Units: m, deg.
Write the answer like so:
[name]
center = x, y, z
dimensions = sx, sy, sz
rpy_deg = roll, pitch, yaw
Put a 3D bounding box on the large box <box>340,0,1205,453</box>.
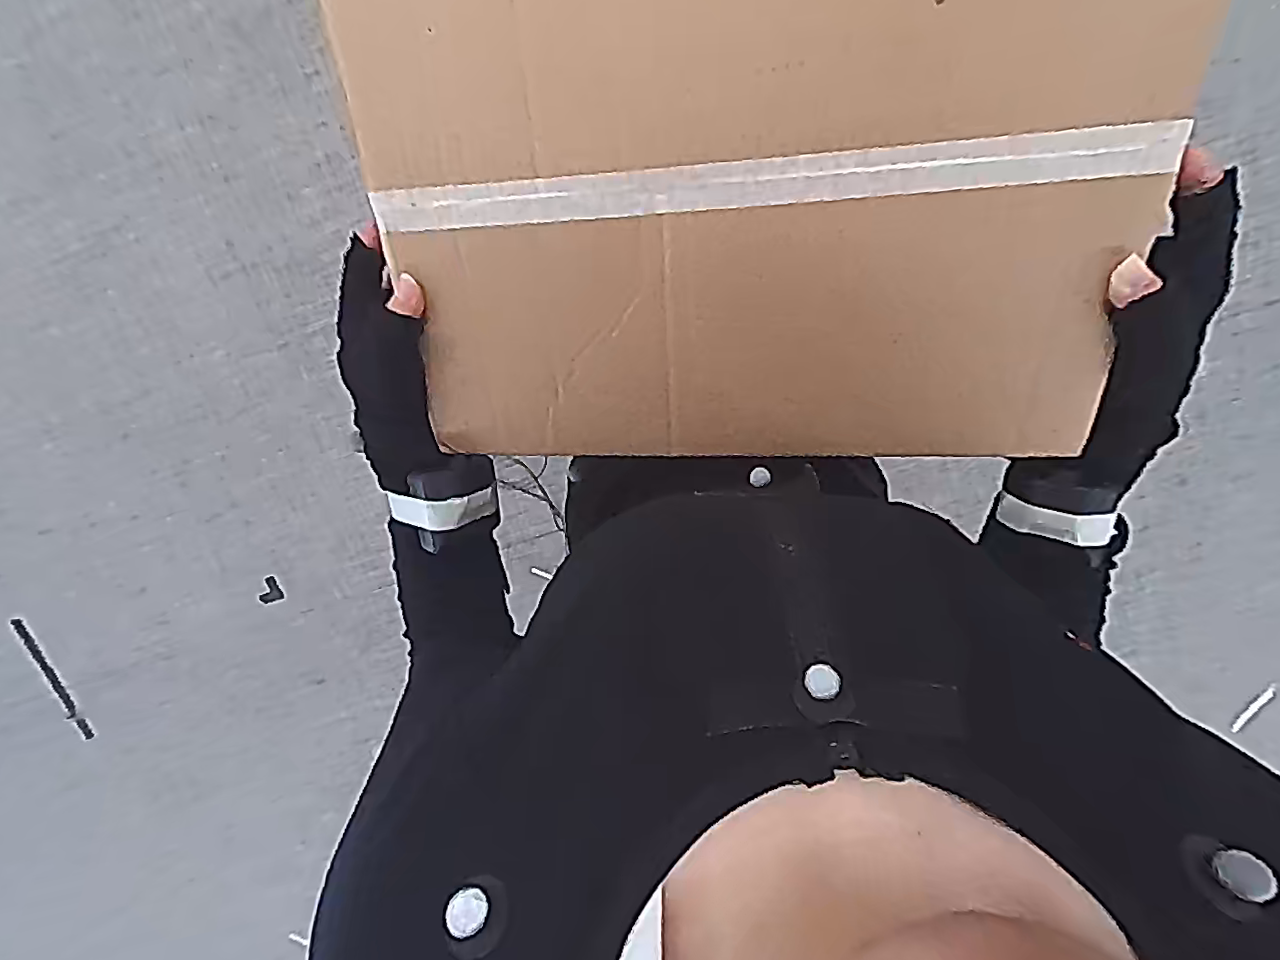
[large box]
center = 0.073, -0.226, 0.419
dimensions = 0.408, 0.320, 0.320
rpy_deg = 0, 118, 9
